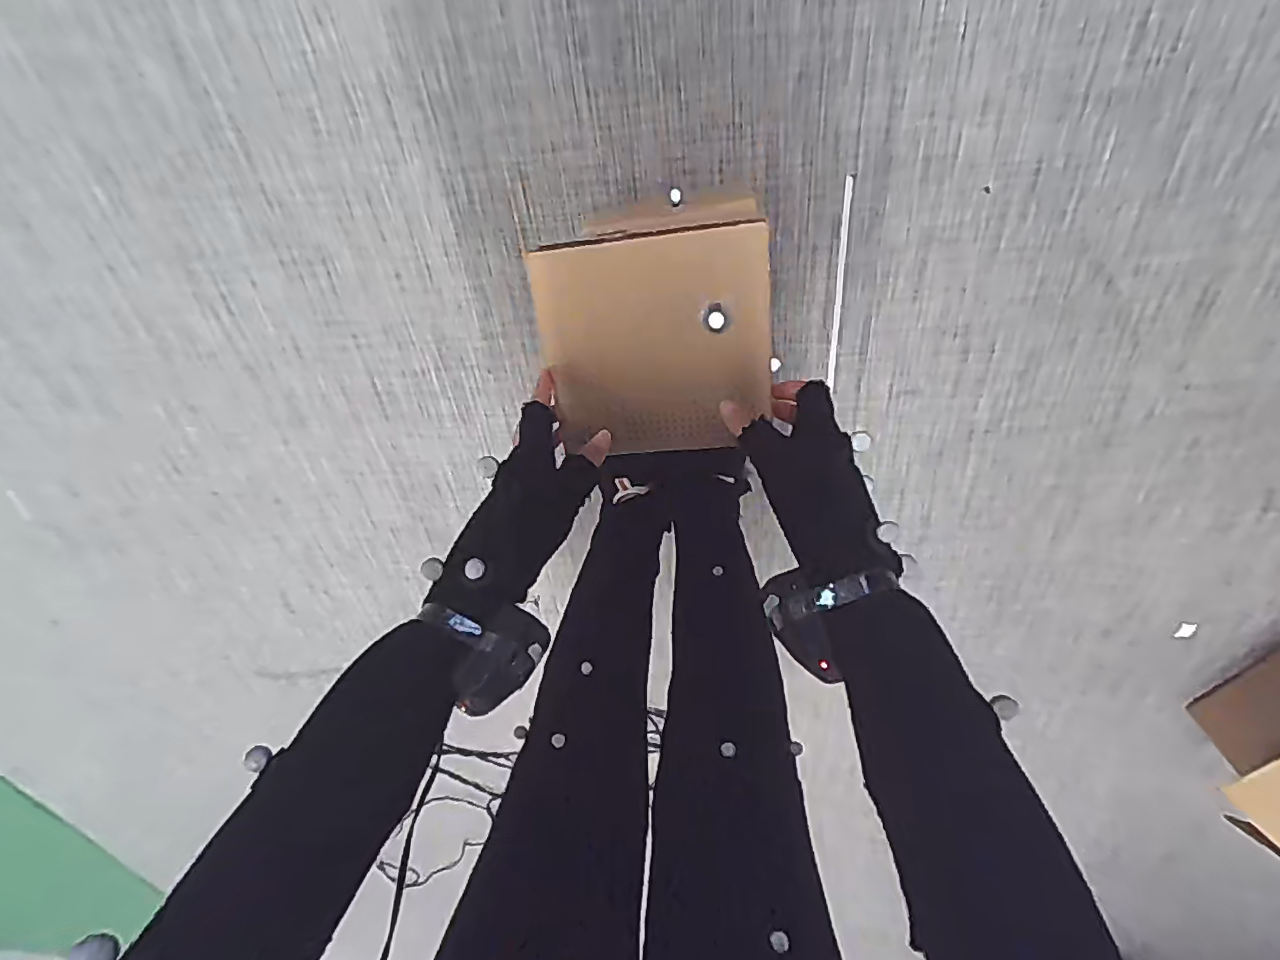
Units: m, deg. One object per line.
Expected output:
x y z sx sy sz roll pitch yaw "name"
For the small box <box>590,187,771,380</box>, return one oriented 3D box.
0.054 -0.233 0.632 0.179 0.176 0.168 -5 122 10 "small box"
